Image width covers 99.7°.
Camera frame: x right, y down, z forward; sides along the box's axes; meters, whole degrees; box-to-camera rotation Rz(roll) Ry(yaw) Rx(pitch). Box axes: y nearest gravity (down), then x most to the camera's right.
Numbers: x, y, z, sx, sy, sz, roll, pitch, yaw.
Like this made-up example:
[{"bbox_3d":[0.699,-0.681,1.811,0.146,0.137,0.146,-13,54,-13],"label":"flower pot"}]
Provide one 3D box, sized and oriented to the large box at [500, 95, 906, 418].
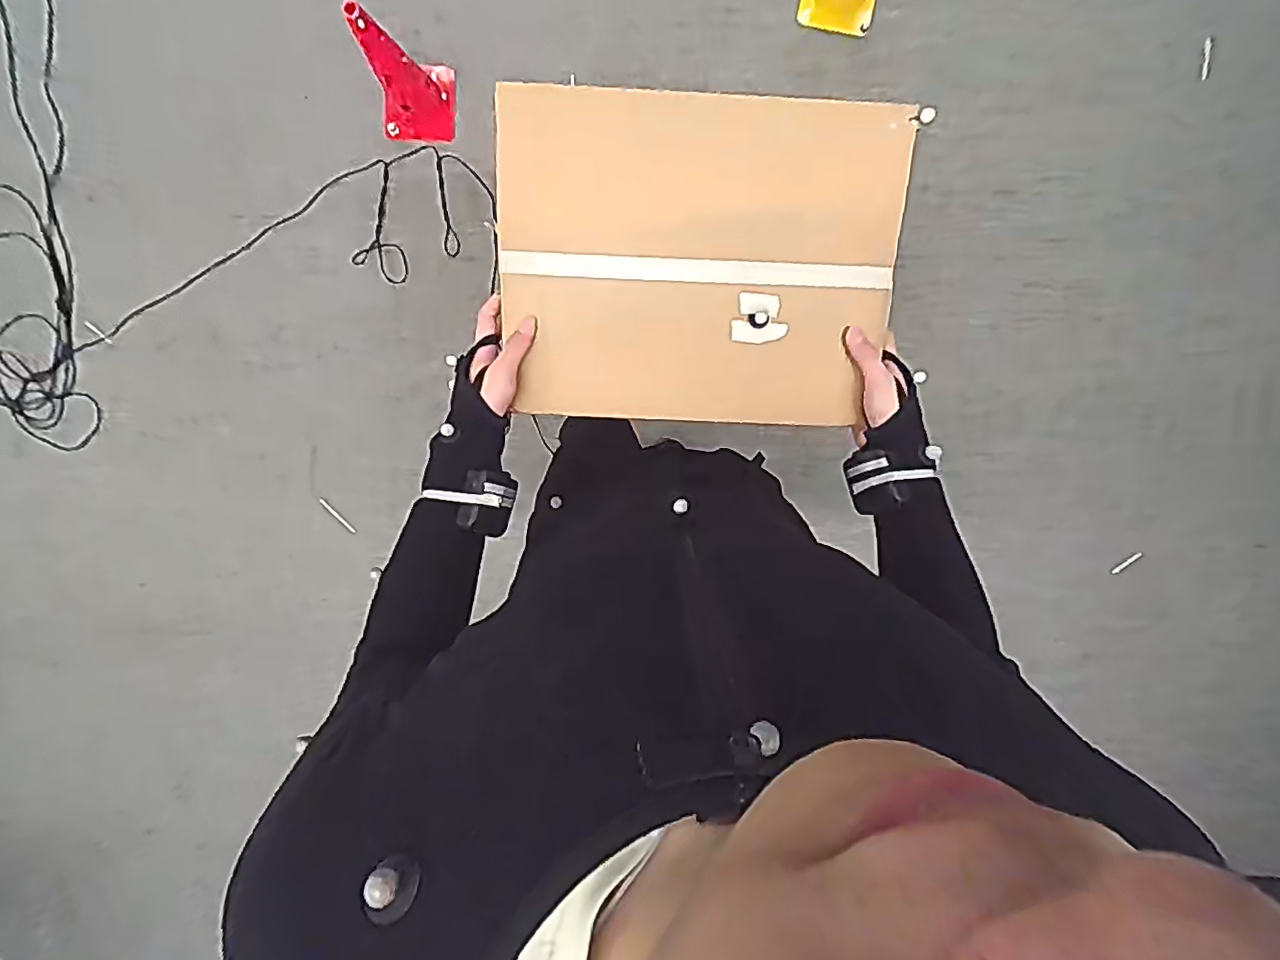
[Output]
[{"bbox_3d":[0.056,-0.260,0.706,0.408,0.320,0.320,1,107,-2],"label":"large box"}]
